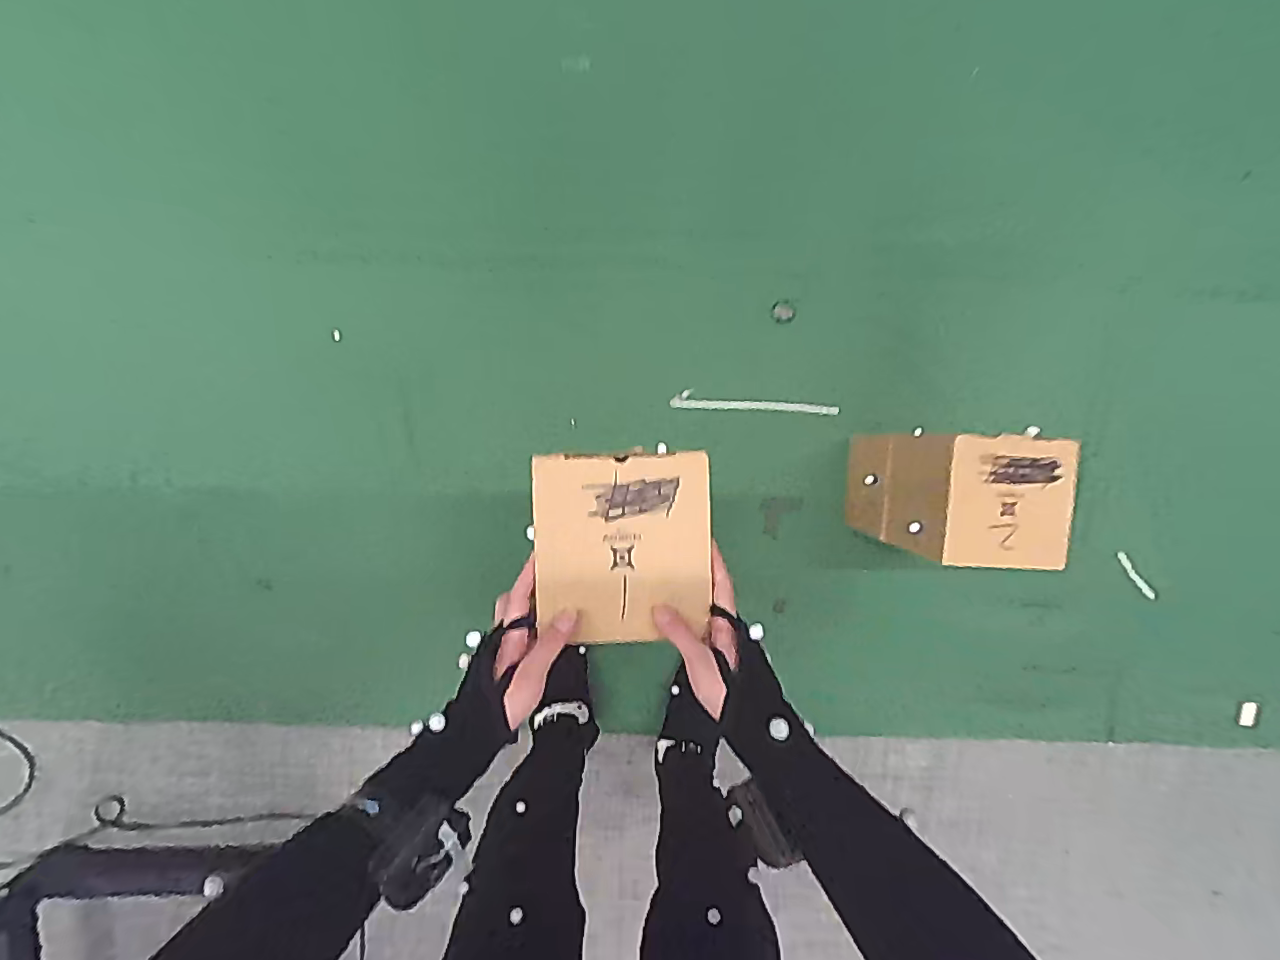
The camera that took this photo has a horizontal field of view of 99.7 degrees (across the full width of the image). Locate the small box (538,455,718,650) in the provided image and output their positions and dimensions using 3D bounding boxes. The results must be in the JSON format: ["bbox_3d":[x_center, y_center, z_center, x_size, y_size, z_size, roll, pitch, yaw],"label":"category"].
[{"bbox_3d":[-0.015,0.066,0.570,0.168,0.176,0.179,-1,91,-2],"label":"small box"}]

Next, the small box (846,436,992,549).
[{"bbox_3d":[0.477,0.016,0.951,0.168,0.176,0.179,4,95,-1],"label":"small box"}]
